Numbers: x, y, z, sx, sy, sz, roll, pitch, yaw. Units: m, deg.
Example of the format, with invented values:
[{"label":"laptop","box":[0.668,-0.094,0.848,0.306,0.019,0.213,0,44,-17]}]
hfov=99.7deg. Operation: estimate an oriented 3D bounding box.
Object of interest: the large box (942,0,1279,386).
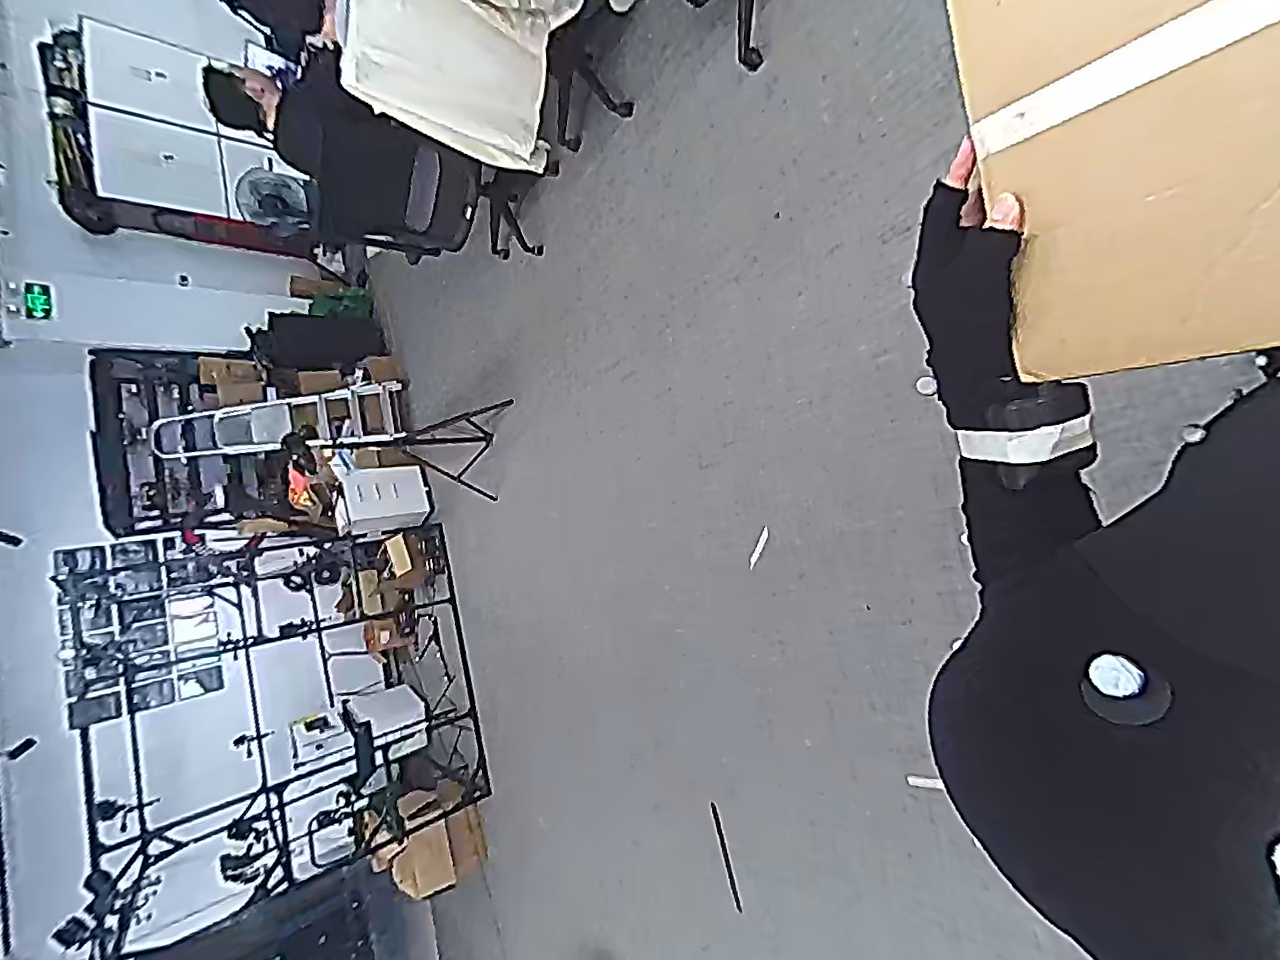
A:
[{"label":"large box","box":[0.443,-0.269,0.272,0.408,0.320,0.320,-4,106,54]}]
